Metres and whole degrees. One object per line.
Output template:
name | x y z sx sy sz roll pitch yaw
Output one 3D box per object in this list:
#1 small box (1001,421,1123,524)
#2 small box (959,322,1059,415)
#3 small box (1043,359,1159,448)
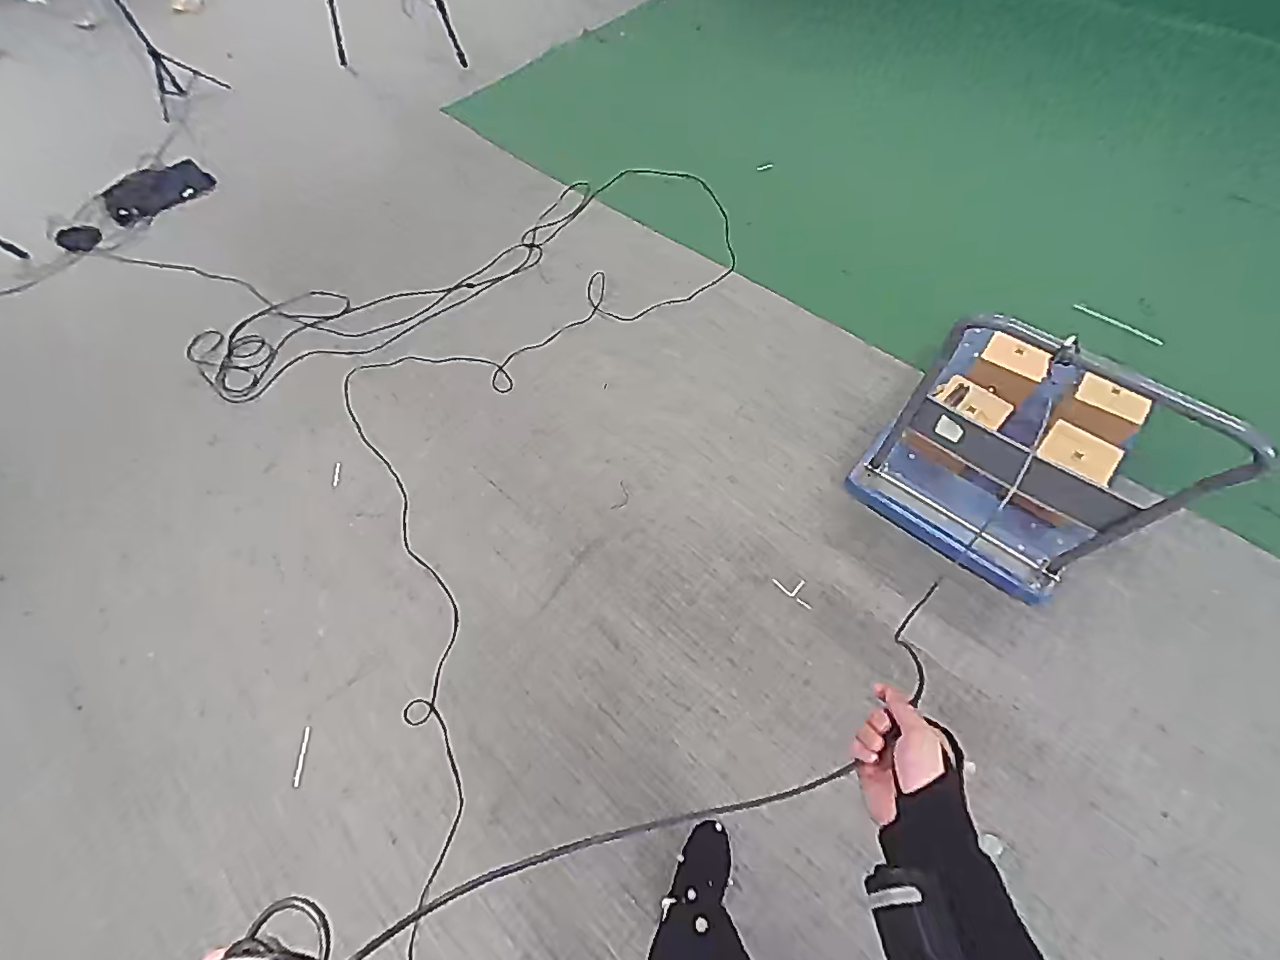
small box | 1.104 -0.017 1.431 0.168 0.176 0.179 38 71 22
small box | 1.085 -0.326 1.606 0.168 0.176 0.179 33 68 20
small box | 1.284 -0.198 1.519 0.168 0.176 0.179 33 69 21
